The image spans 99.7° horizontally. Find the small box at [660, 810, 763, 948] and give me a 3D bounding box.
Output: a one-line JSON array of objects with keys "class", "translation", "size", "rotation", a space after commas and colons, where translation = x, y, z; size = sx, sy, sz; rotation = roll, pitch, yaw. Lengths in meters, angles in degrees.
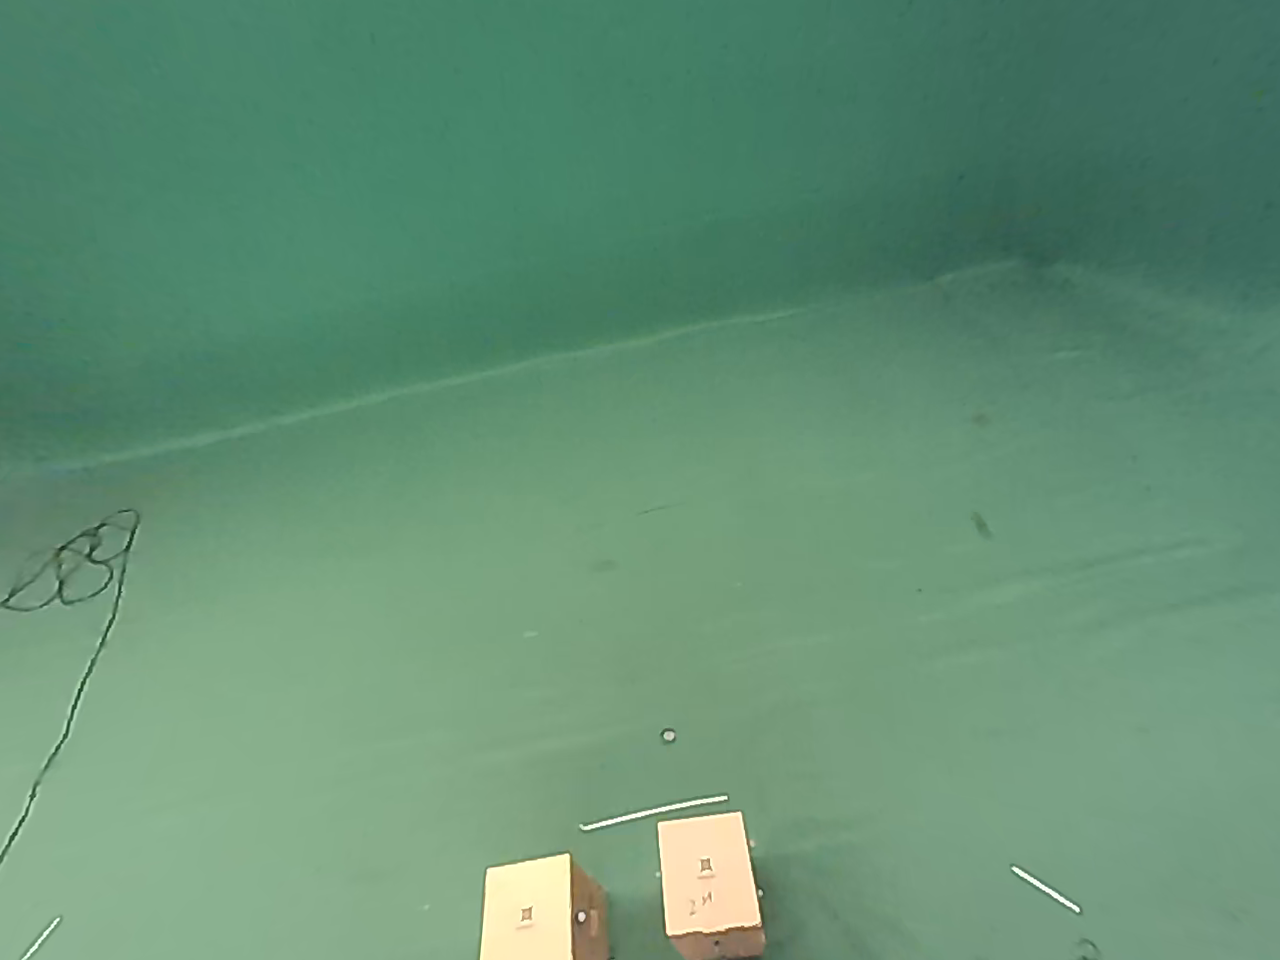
[{"class": "small box", "translation": [0.135, 0.766, 1.037], "size": [0.168, 0.176, 0.179], "rotation": [-10, 43, 4]}]

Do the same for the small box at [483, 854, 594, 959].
[{"class": "small box", "translation": [-0.187, 0.851, 1.030], "size": [0.168, 0.176, 0.179], "rotation": [-12, 42, 1]}]

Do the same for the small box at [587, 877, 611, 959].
[{"class": "small box", "translation": [-0.160, 0.968, 1.141], "size": [0.179, 0.176, 0.168], "rotation": [-13, 41, 2]}]
